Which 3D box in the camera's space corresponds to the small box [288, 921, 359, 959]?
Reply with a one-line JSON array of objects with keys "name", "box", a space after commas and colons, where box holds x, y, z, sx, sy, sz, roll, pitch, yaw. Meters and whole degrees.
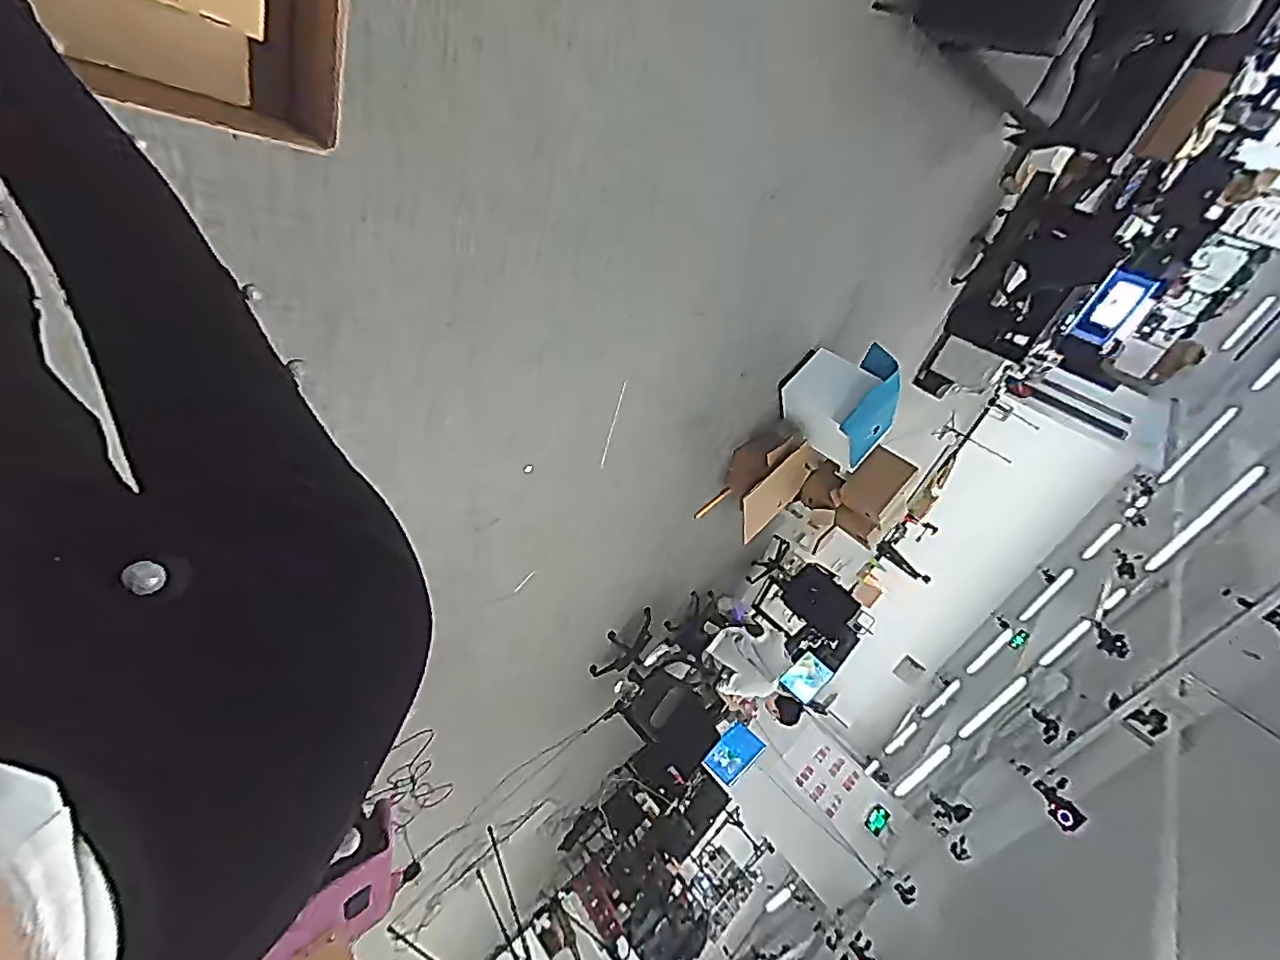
[{"name": "small box", "box": [-1.006, 1.564, 1.724, 0.168, 0.176, 0.179, -19, 140, -42]}]
